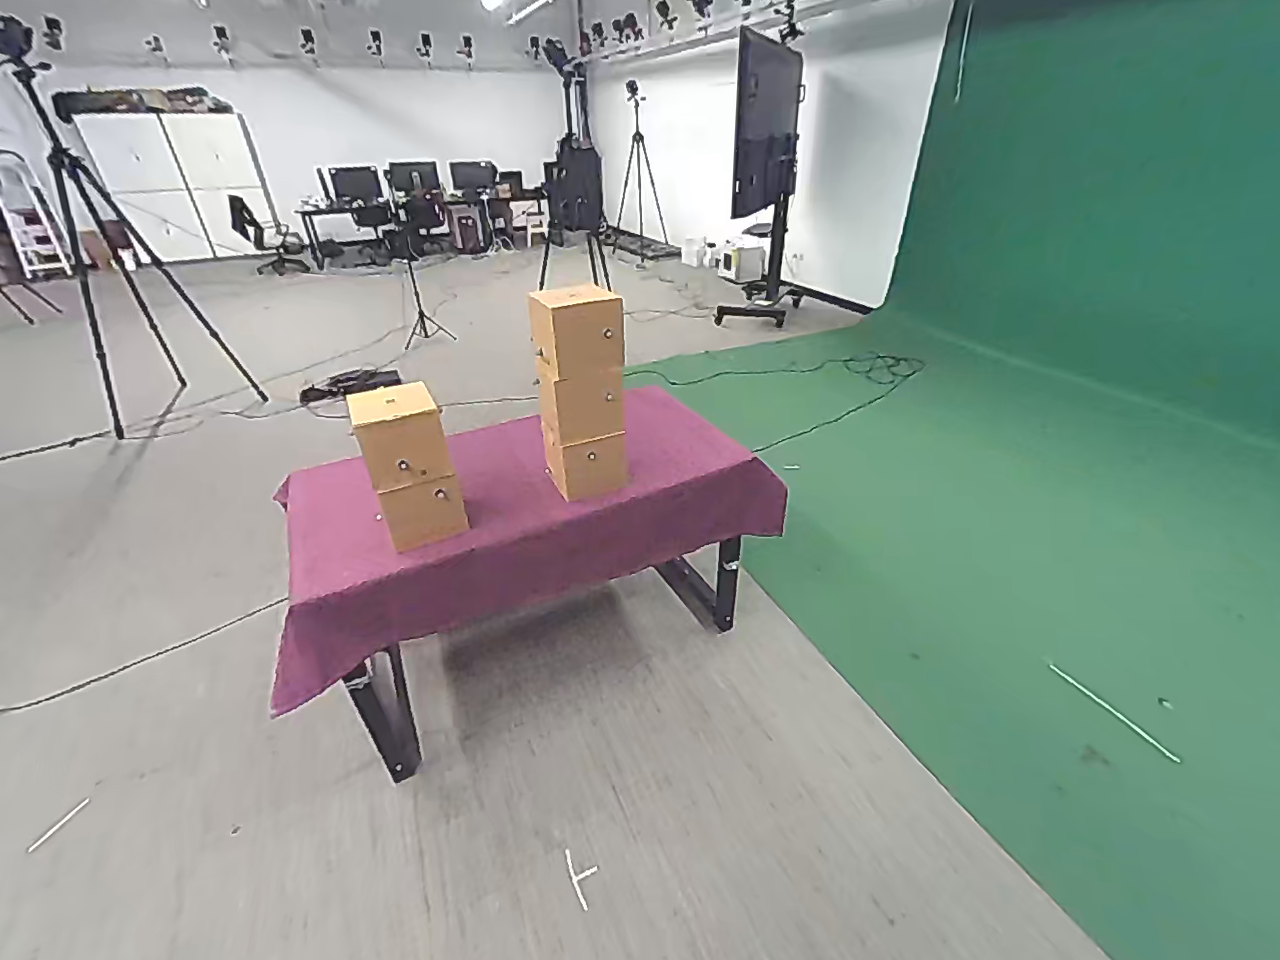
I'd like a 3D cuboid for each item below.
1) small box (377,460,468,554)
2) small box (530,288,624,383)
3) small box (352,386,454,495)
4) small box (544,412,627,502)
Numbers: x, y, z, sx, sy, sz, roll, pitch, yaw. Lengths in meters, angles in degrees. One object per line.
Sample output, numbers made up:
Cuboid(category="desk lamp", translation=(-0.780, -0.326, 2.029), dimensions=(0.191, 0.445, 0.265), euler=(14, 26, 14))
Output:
Cuboid(category="small box", translation=(-0.523, 0.048, 1.299), dimensions=(0.179, 0.176, 0.168), euler=(-17, 35, -23))
Cuboid(category="small box", translation=(-0.148, -0.348, 1.293), dimensions=(0.179, 0.176, 0.168), euler=(-17, 35, -23))
Cuboid(category="small box", translation=(-0.532, -0.092, 1.215), dimensions=(0.168, 0.176, 0.179), euler=(-17, 36, -23))
Cuboid(category="small box", translation=(-0.143, -0.061, 1.452), dimensions=(0.179, 0.176, 0.168), euler=(-16, 35, -21))
